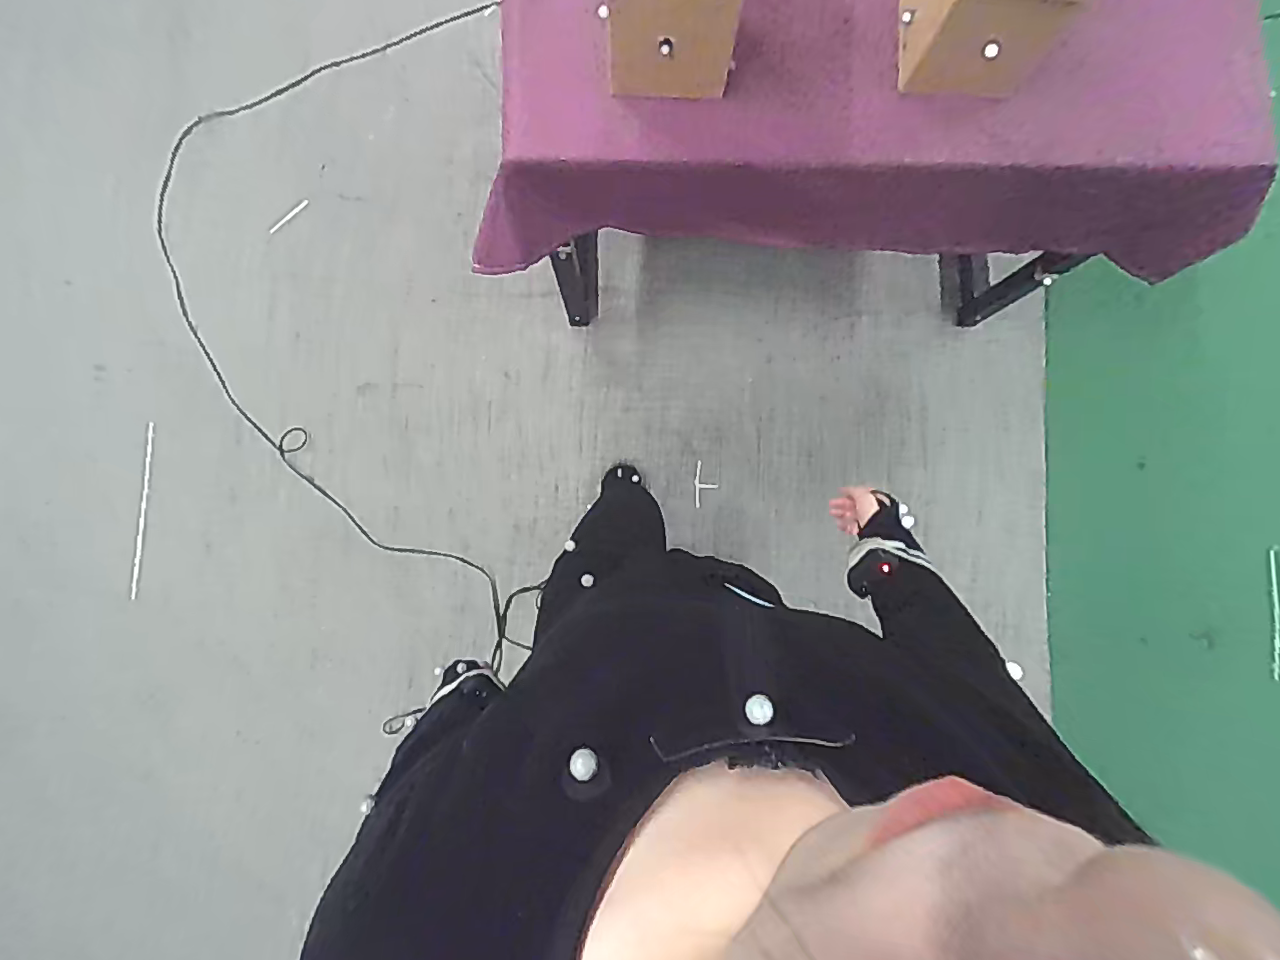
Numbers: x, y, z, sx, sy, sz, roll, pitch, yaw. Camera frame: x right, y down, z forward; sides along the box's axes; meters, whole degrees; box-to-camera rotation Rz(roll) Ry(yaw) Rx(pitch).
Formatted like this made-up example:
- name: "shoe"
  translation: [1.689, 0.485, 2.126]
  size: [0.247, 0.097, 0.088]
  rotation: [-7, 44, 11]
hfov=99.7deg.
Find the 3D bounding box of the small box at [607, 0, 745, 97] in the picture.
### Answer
- name: "small box"
  translation: [0.046, -0.677, 0.759]
  size: [0.179, 0.176, 0.168]
  rotation: [2, 85, -1]
